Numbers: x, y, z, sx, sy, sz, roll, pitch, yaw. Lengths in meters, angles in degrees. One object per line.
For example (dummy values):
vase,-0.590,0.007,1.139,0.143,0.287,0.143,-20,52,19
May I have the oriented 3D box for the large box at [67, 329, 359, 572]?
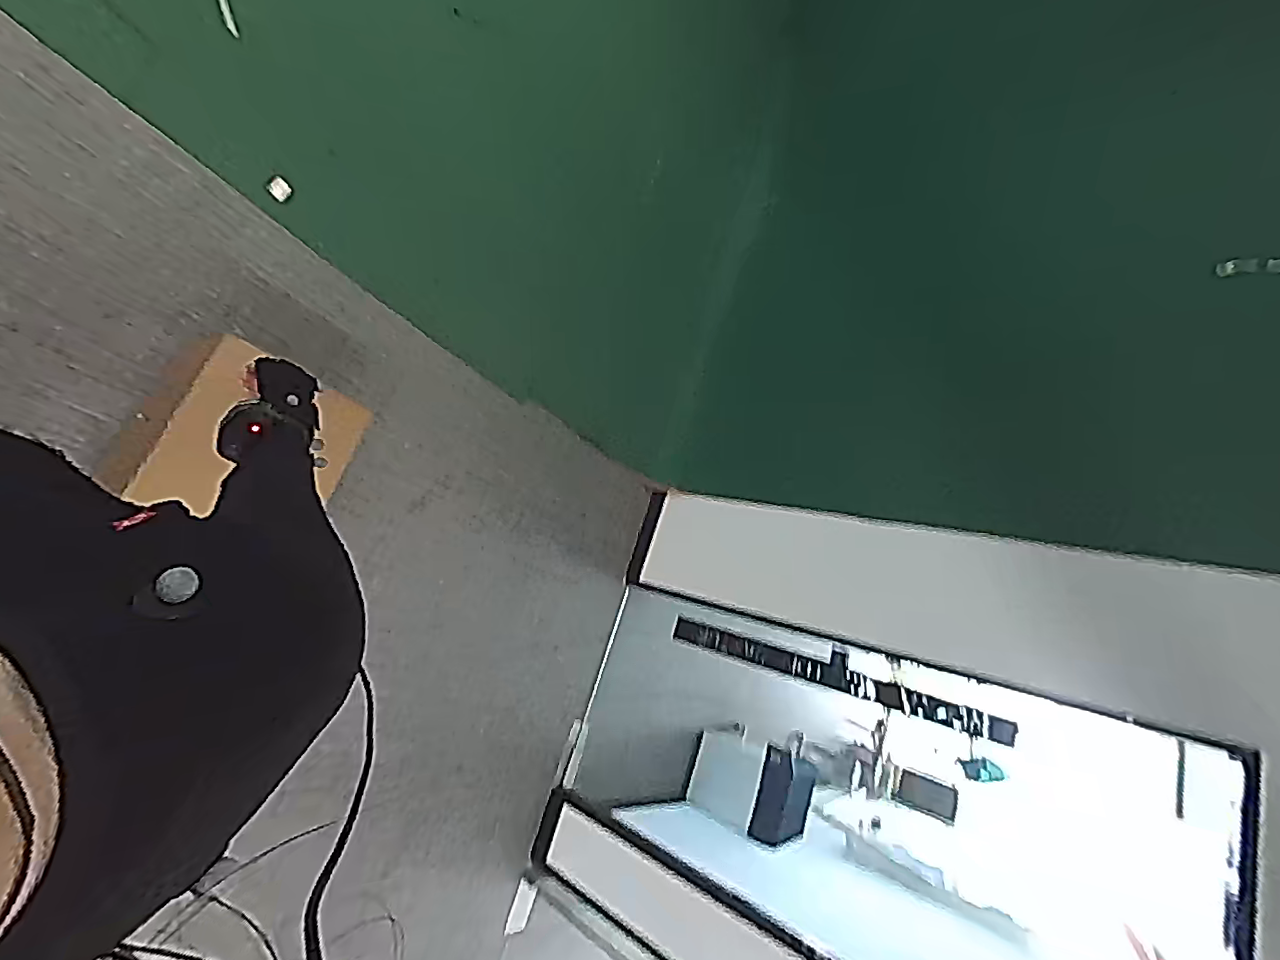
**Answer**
large box,-0.901,-0.056,1.162,0.320,0.320,0.408,40,63,-49
